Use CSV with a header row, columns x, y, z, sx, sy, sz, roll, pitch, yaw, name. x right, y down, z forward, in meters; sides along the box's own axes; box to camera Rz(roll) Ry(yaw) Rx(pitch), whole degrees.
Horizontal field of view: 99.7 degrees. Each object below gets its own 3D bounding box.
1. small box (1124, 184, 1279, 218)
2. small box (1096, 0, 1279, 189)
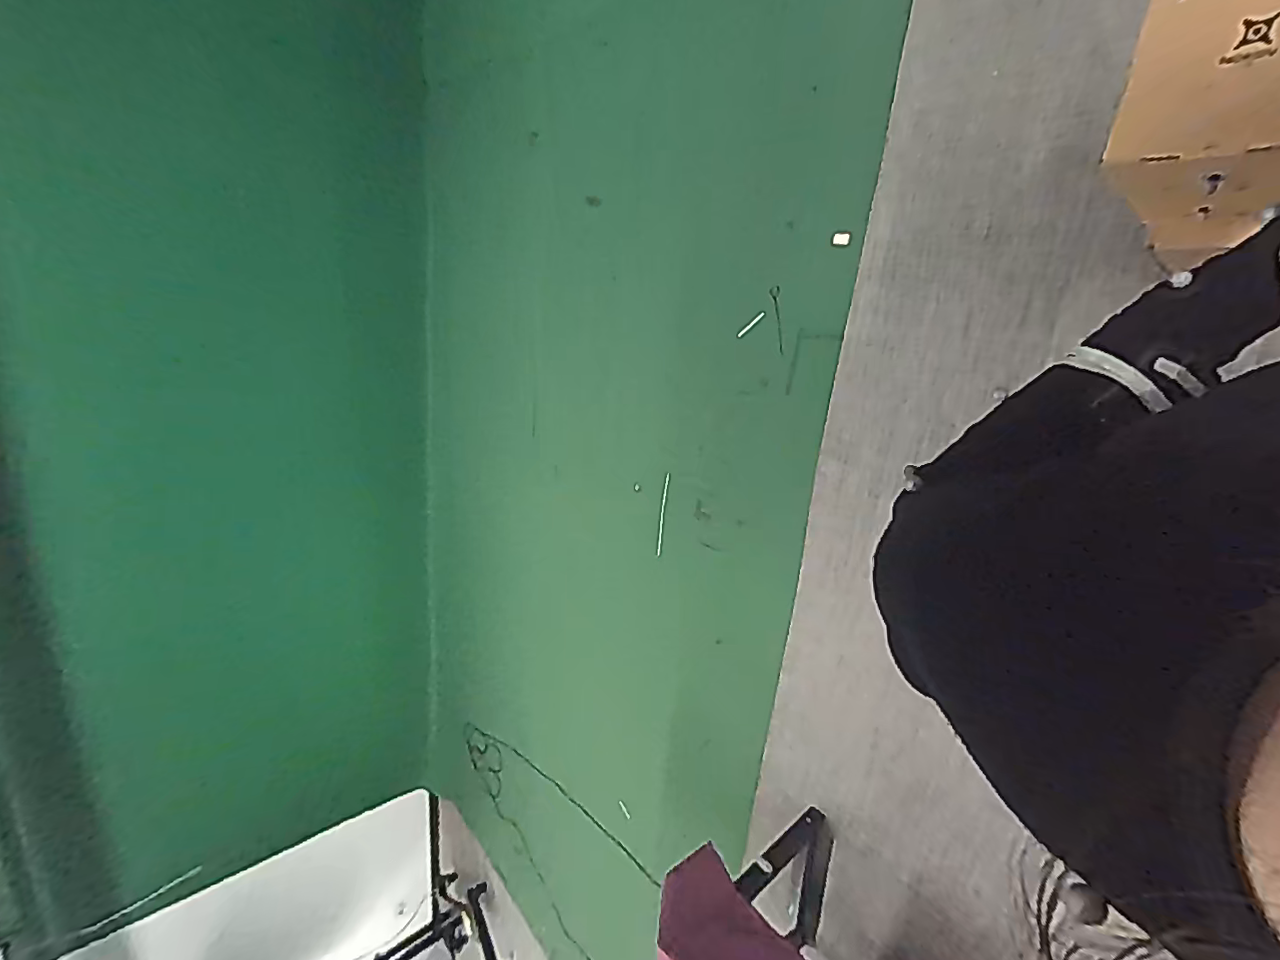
x,y,z,sx,sy,sz,roll,pitch,yaw,name
0.718,-0.426,0.643,0.168,0.176,0.179,22,114,43,small box
0.597,-0.399,0.535,0.168,0.176,0.179,23,116,43,small box
